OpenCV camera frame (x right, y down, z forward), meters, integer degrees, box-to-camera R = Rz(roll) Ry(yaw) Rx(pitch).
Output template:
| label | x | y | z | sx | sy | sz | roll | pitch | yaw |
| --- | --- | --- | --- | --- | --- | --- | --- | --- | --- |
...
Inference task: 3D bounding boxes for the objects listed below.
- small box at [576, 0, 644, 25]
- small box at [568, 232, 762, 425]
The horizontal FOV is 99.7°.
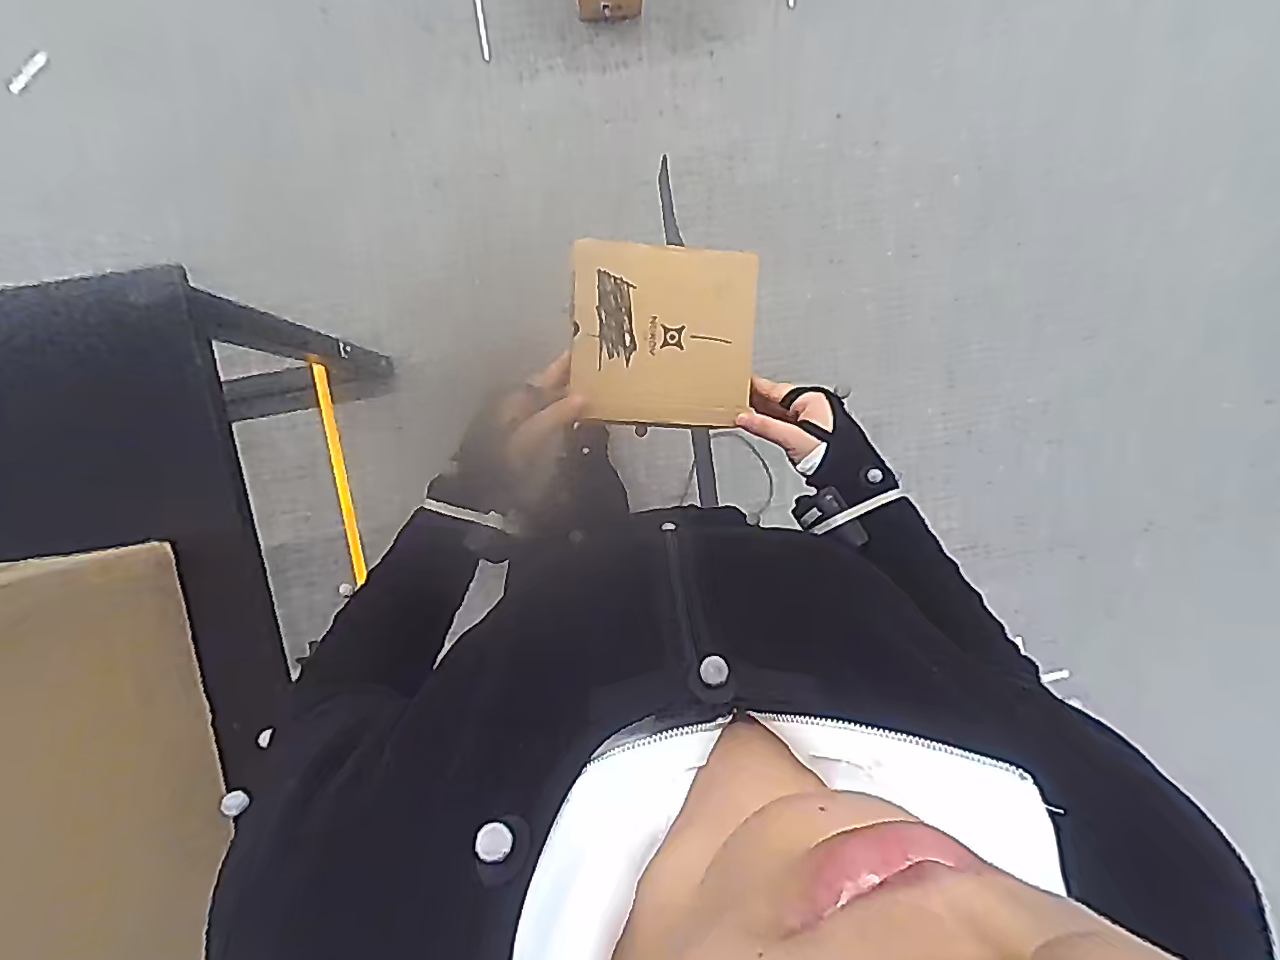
| label | x | y | z | sx | sy | sz | roll | pitch | yaw |
| --- | --- | --- | --- | --- | --- | --- | --- | --- | --- |
| small box | -0.081 | -1.248 | 1.292 | 0.168 | 0.176 | 0.179 | -9 | 96 | -2 |
| small box | 0.016 | -0.148 | 0.583 | 0.179 | 0.176 | 0.168 | 3 | 95 | -7 |
